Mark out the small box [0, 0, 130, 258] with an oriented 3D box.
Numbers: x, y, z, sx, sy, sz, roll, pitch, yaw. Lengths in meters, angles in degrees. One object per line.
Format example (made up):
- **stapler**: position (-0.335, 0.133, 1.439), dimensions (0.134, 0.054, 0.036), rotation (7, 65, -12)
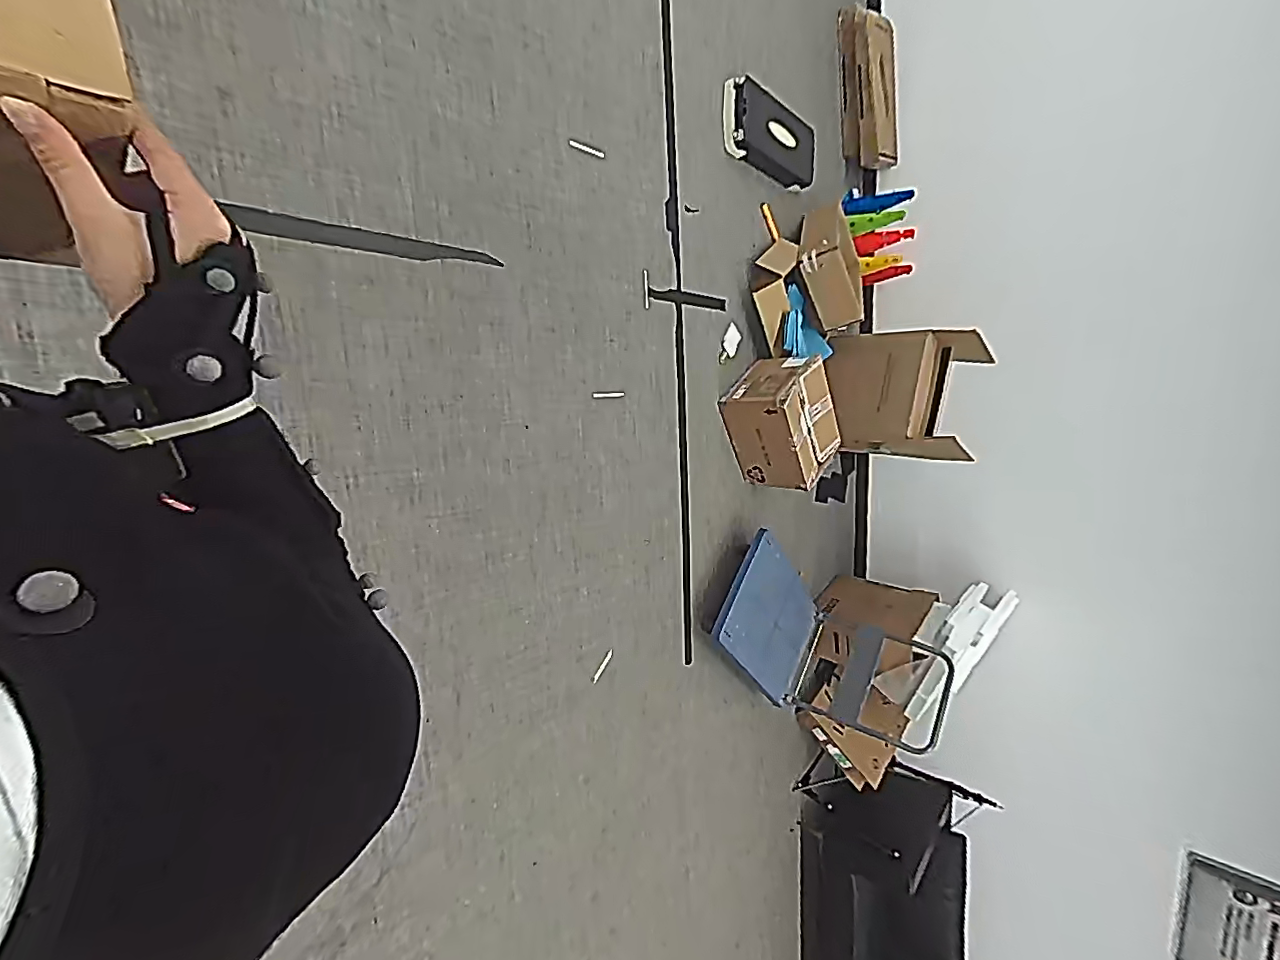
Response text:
- **small box**: position (-0.386, -0.239, 0.269), dimensions (0.168, 0.176, 0.179), rotation (-11, 85, -50)
